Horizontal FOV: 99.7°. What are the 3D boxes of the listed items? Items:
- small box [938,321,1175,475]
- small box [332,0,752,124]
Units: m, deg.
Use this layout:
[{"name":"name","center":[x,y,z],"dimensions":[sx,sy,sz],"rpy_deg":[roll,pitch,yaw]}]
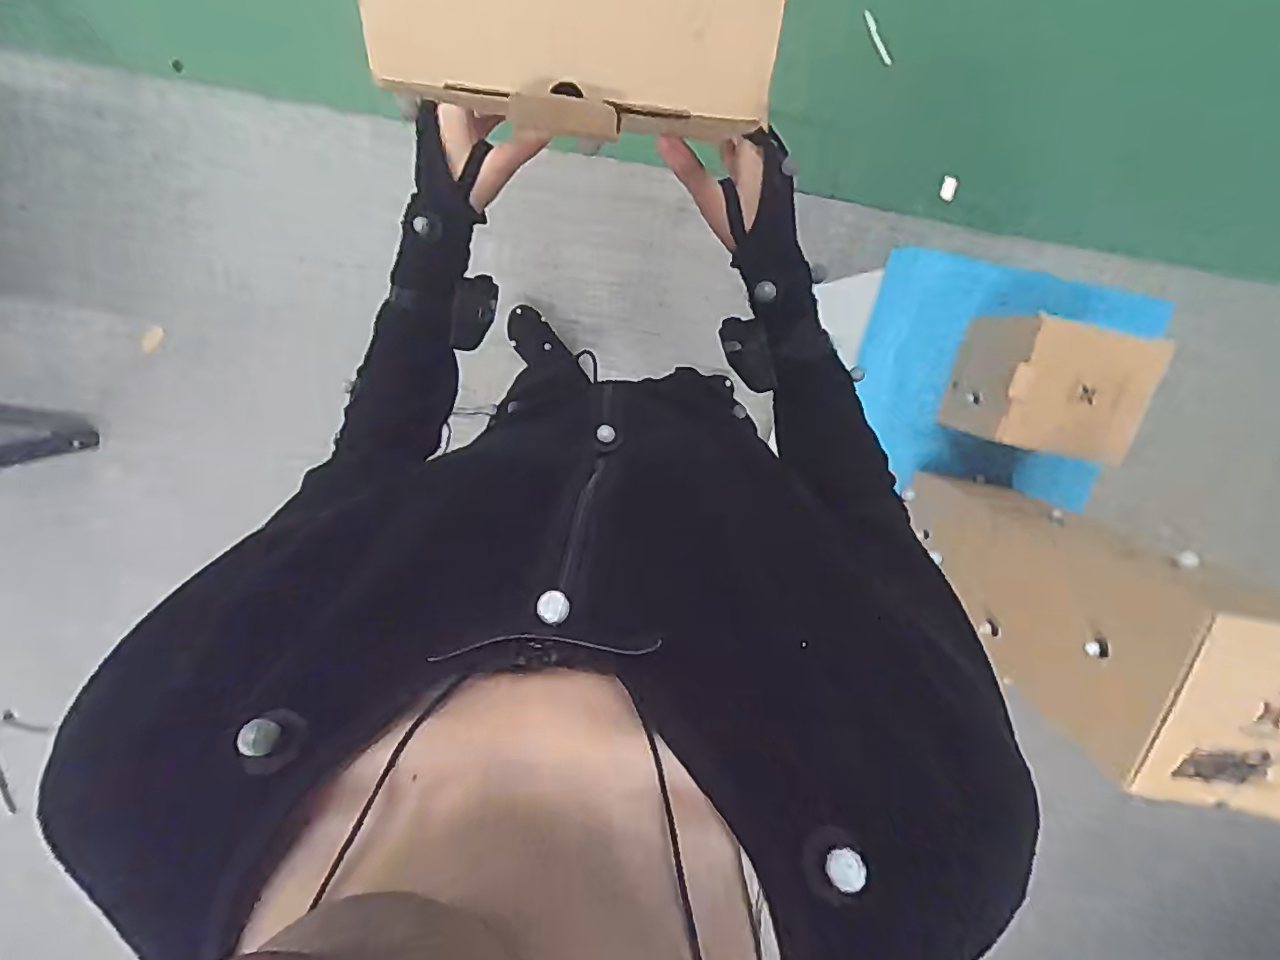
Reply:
[{"name":"small box","center":[0.567,-0.122,0.769],"dimensions":[0.179,0.176,0.168],"rpy_deg":[13,107,-3]},{"name":"small box","center":[-0.027,-0.274,0.244],"dimensions":[0.168,0.176,0.179],"rpy_deg":[6,121,-1]}]
